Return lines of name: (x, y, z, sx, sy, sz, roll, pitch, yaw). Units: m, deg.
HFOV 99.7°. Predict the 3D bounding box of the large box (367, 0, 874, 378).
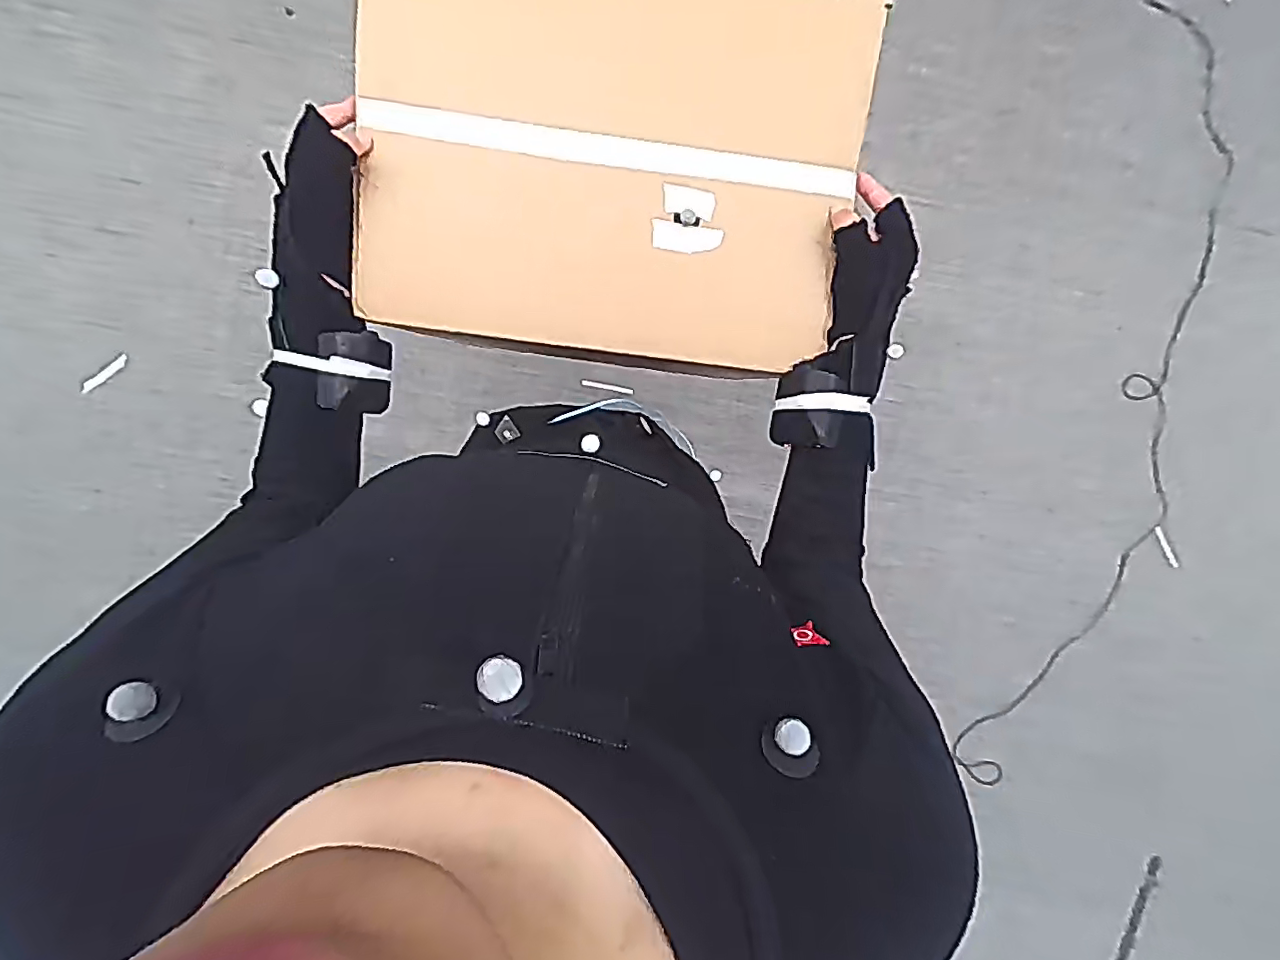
large box: (-0.032, -0.290, 0.597, 0.408, 0.320, 0.320, 7, 101, -5)
